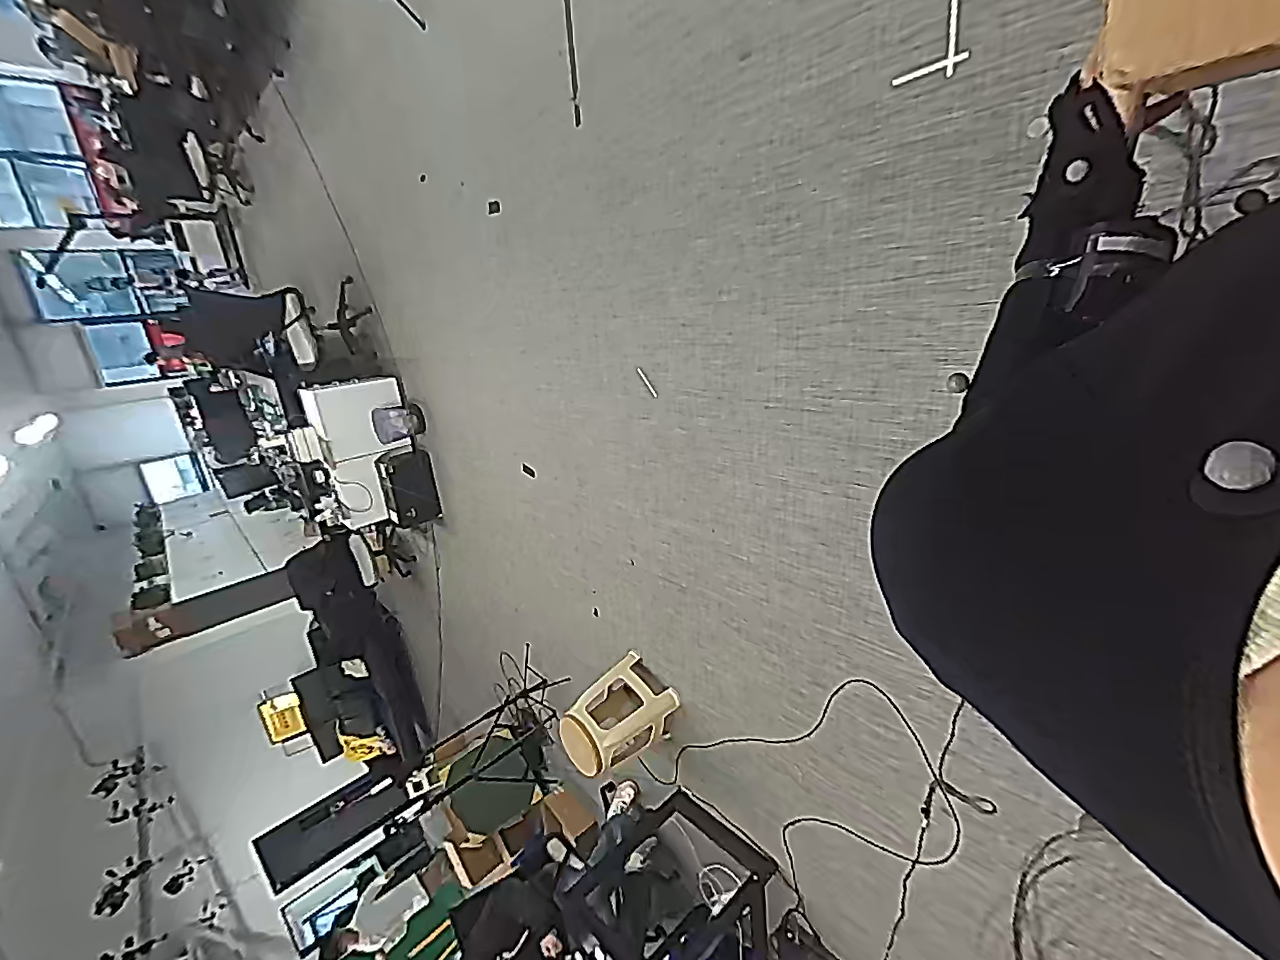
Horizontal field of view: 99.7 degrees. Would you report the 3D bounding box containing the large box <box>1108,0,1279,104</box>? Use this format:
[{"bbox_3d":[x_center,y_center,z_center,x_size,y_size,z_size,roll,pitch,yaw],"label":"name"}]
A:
[{"bbox_3d":[0.408,-0.343,0.136,0.408,0.320,0.320,10,123,43],"label":"large box"}]
